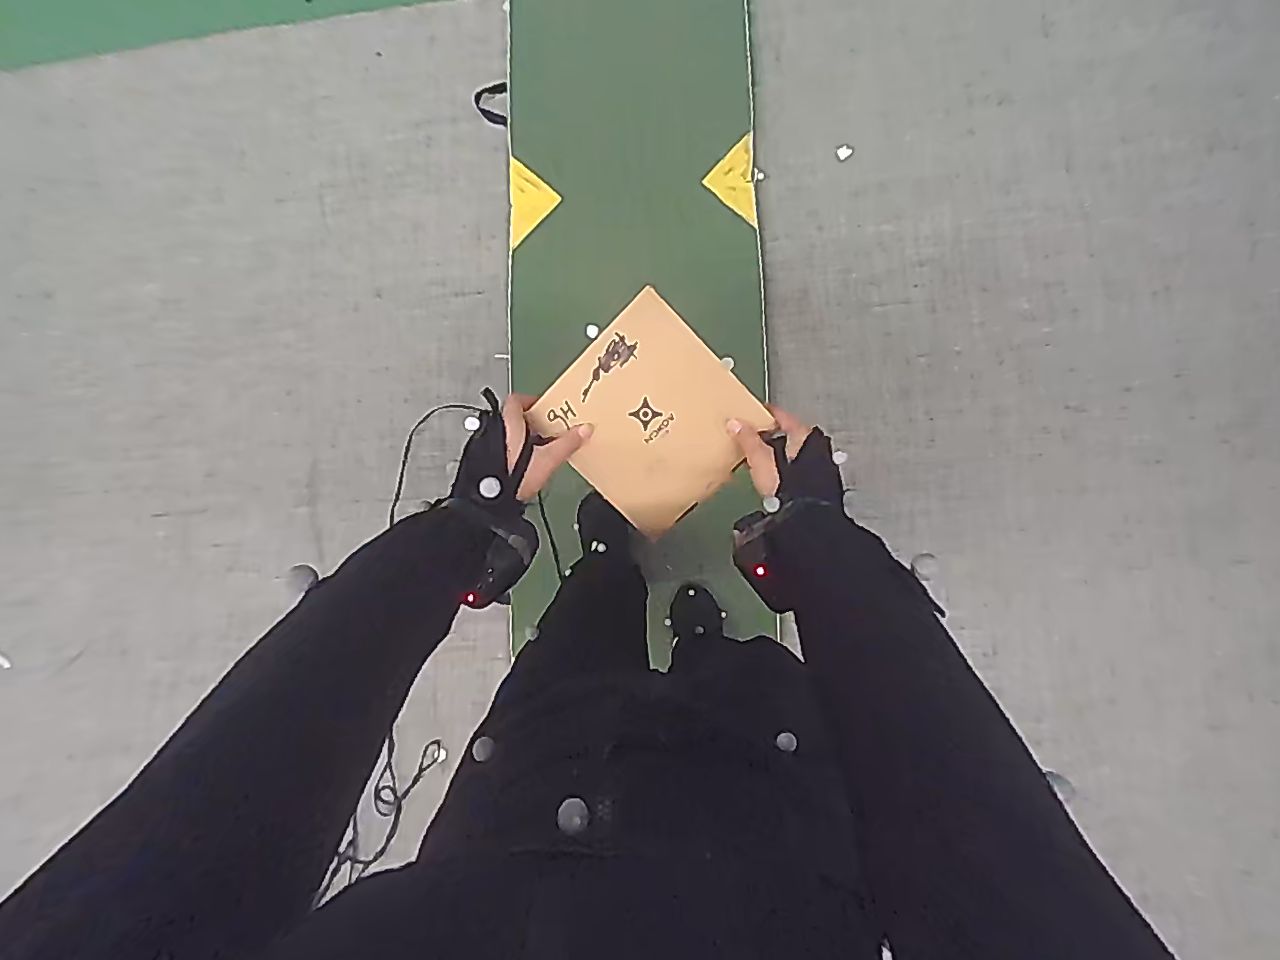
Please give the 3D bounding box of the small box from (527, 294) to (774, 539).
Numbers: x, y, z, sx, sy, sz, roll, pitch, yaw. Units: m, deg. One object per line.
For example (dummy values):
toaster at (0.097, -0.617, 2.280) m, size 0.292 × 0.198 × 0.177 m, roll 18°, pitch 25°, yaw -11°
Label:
small box at (0.013, -0.073, 0.582) m, size 0.168 × 0.176 × 0.179 m, roll -44°, pitch 98°, yaw 10°
